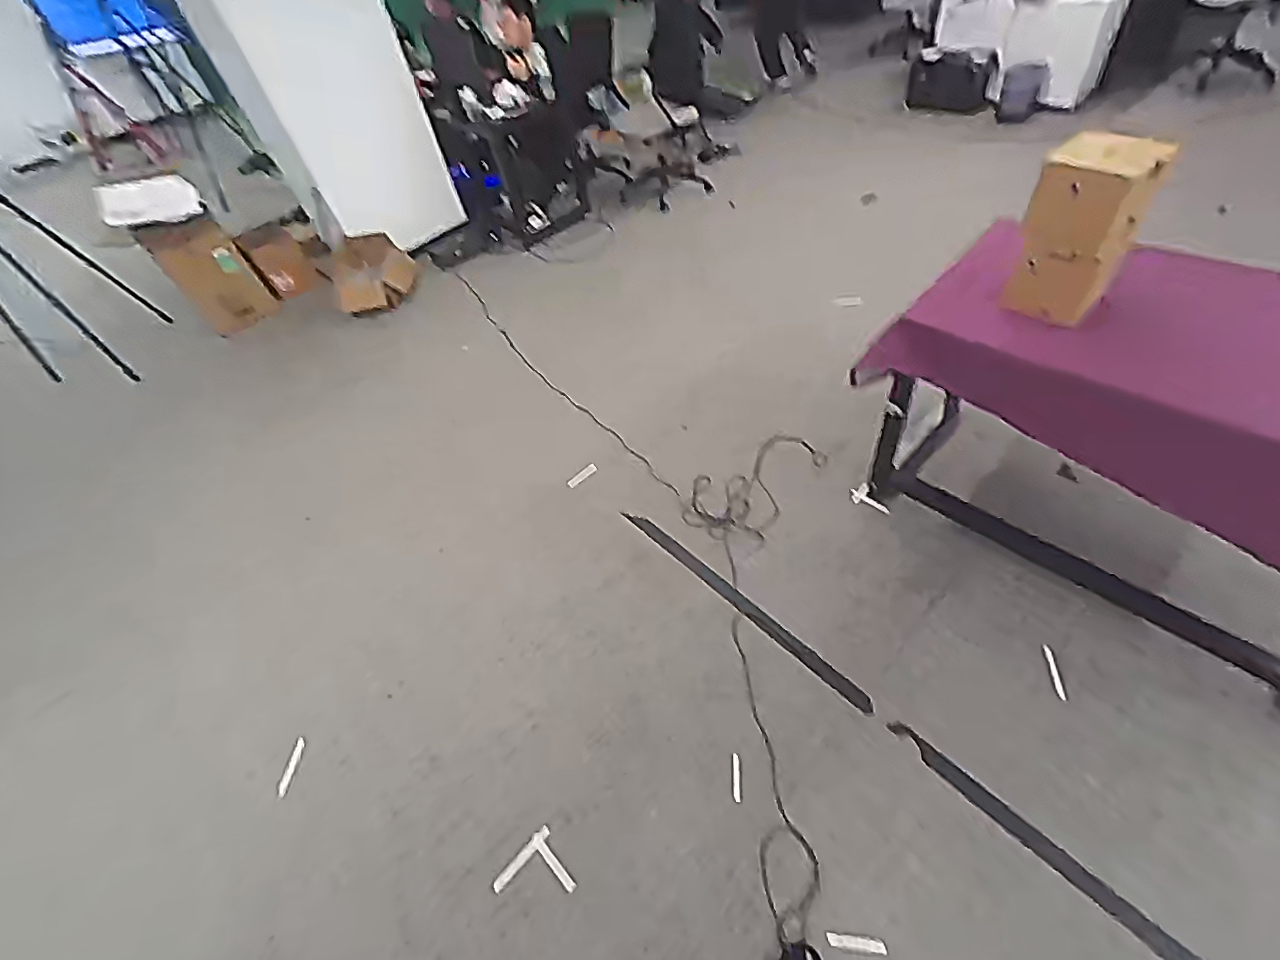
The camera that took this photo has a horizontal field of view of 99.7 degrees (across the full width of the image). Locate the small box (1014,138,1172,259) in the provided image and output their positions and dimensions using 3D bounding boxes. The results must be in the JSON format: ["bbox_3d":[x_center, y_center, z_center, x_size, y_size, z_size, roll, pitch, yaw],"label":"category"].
[{"bbox_3d":[0.953,-0.601,1.158,0.168,0.176,0.179,-33,52,-16],"label":"small box"}]
